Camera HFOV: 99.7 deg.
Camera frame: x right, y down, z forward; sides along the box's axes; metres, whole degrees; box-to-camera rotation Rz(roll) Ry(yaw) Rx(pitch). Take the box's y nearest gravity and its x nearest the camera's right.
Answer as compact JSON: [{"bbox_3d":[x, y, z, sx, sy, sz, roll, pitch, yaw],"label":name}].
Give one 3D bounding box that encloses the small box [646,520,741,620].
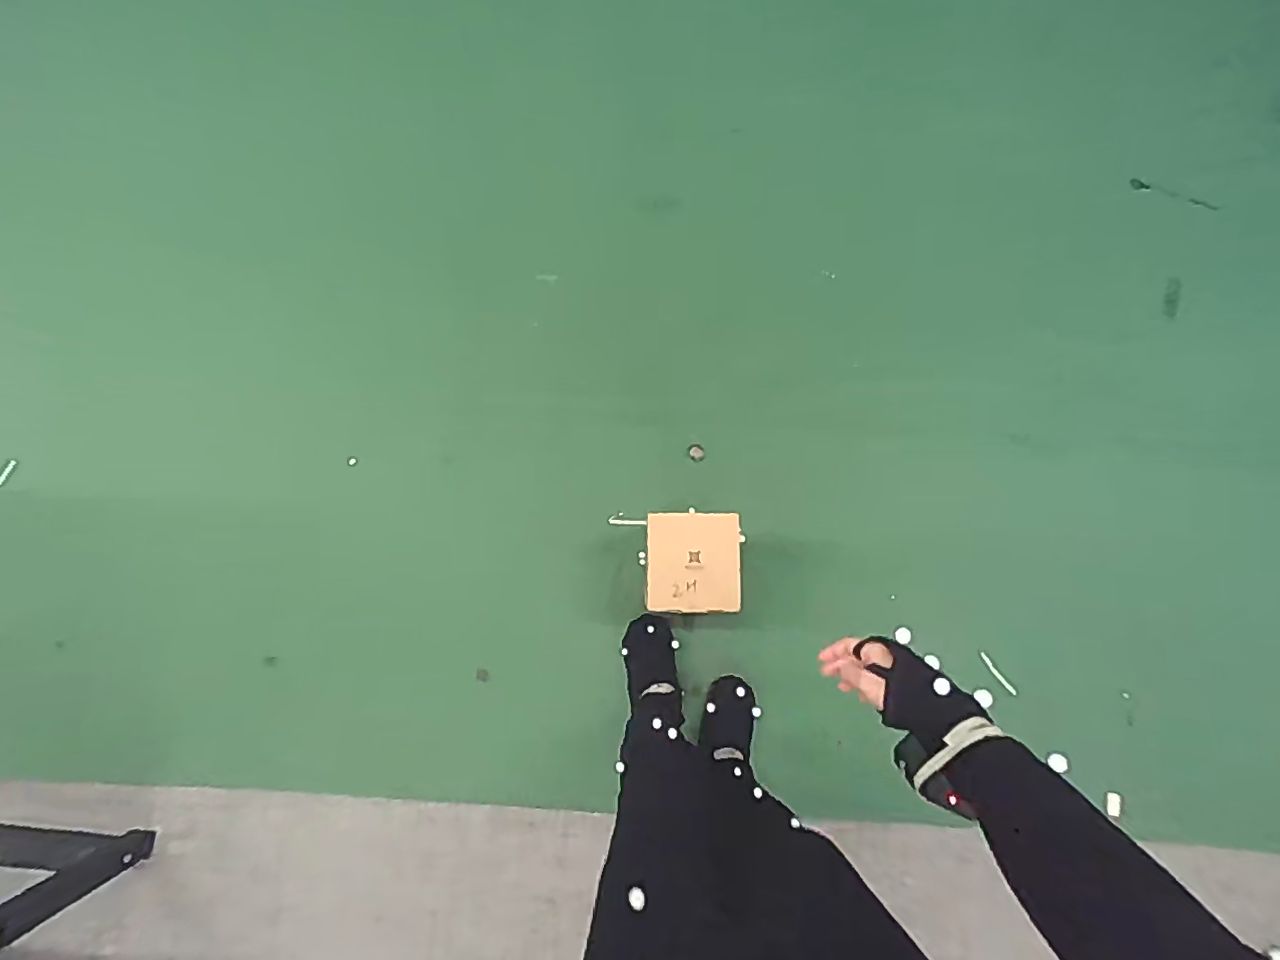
[{"bbox_3d":[0.097,0.171,1.037,0.168,0.176,0.179,1,82,1],"label":"small box"}]
